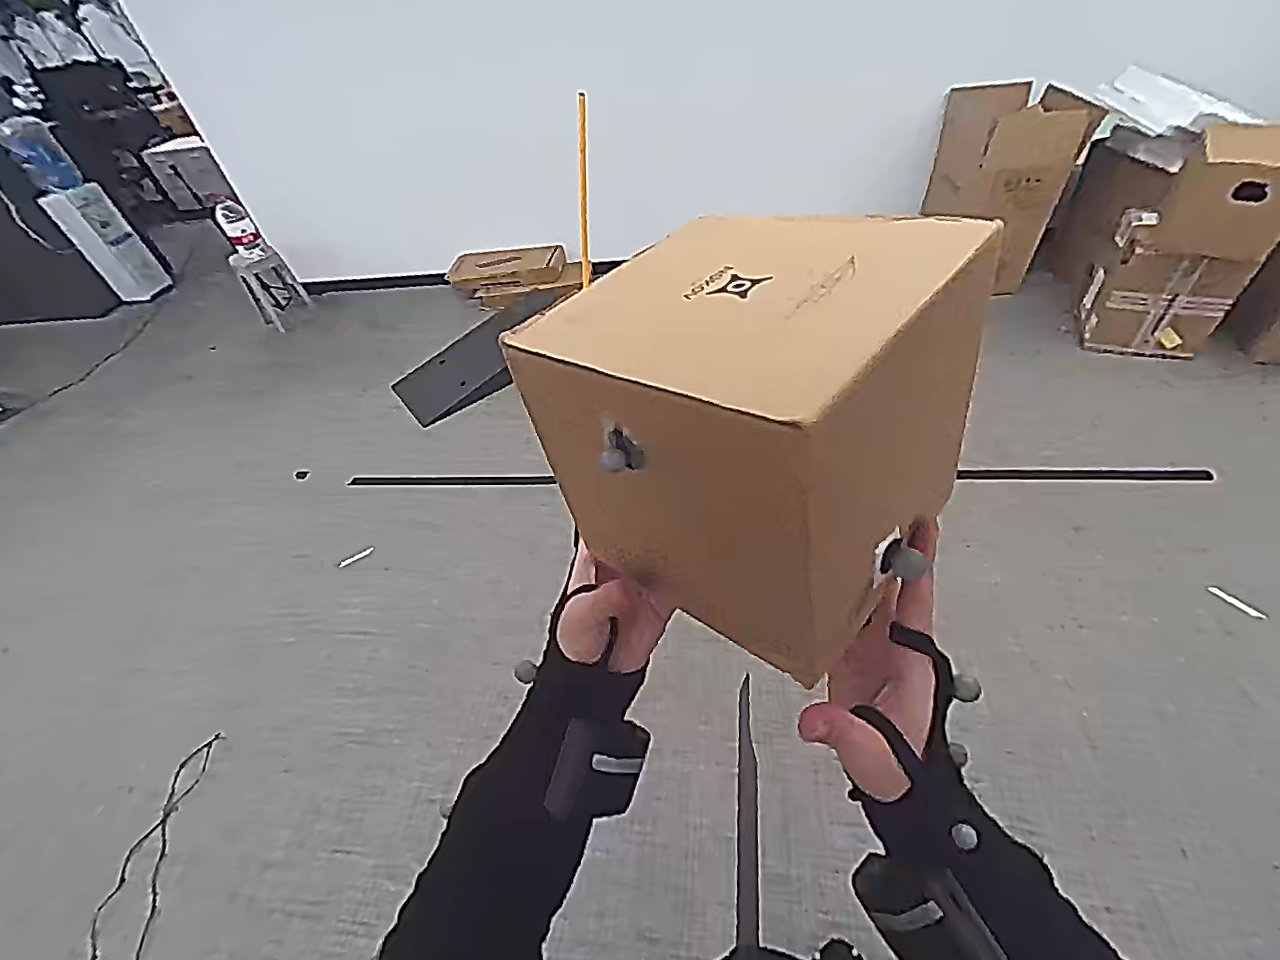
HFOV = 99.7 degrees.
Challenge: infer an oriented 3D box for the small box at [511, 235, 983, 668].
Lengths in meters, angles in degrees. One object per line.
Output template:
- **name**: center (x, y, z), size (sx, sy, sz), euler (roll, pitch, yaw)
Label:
- **small box**: center (0.063, -0.025, 0.316), size (0.179, 0.176, 0.168), euler (23, 54, 37)
